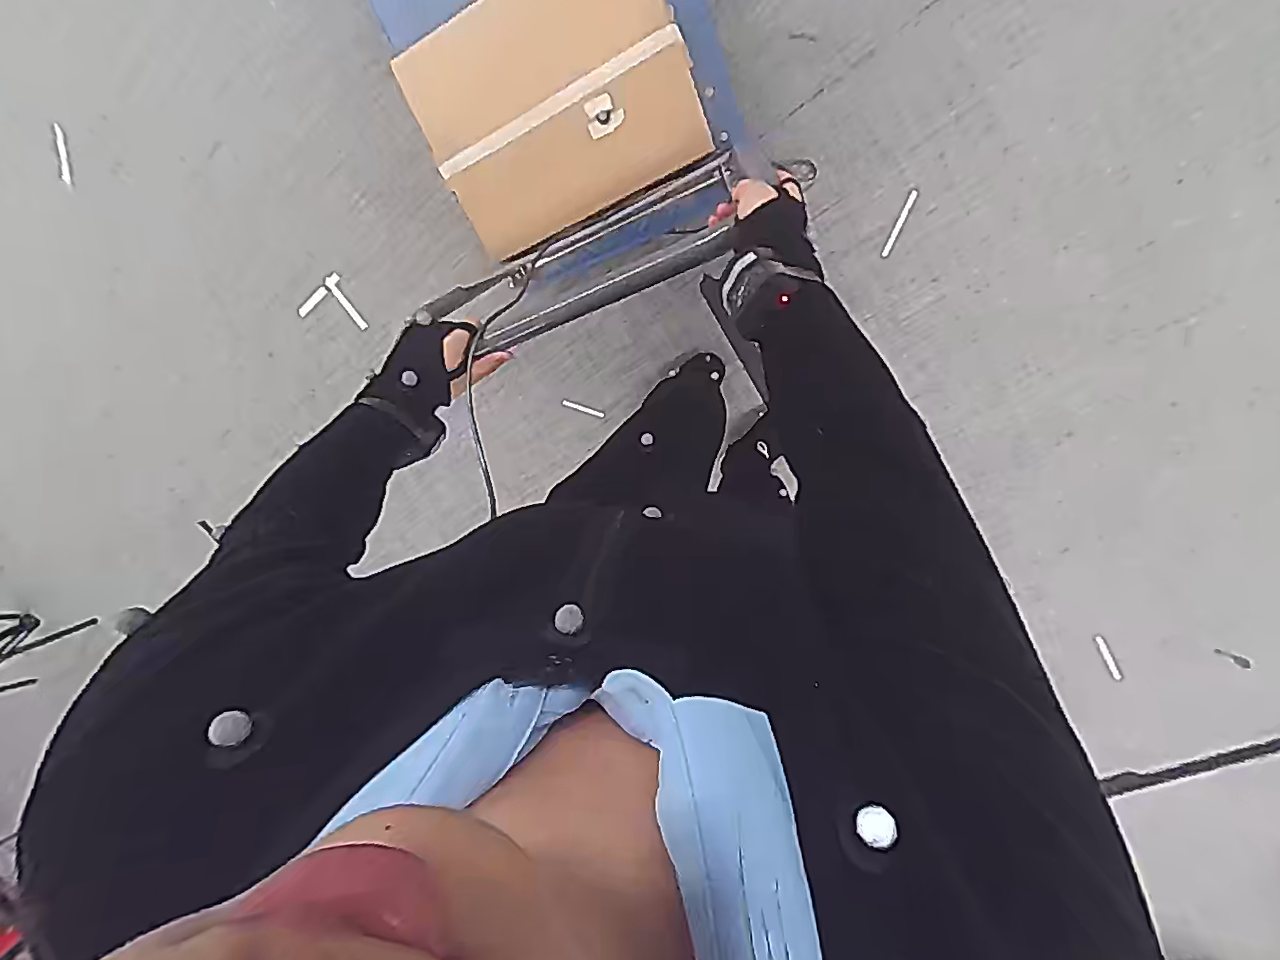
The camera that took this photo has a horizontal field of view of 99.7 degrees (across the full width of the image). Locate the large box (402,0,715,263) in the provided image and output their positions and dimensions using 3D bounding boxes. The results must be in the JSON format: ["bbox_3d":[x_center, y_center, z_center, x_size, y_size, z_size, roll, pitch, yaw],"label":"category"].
[{"bbox_3d":[-0.110,-0.628,0.953,0.408,0.320,0.320,-20,113,16],"label":"large box"}]
